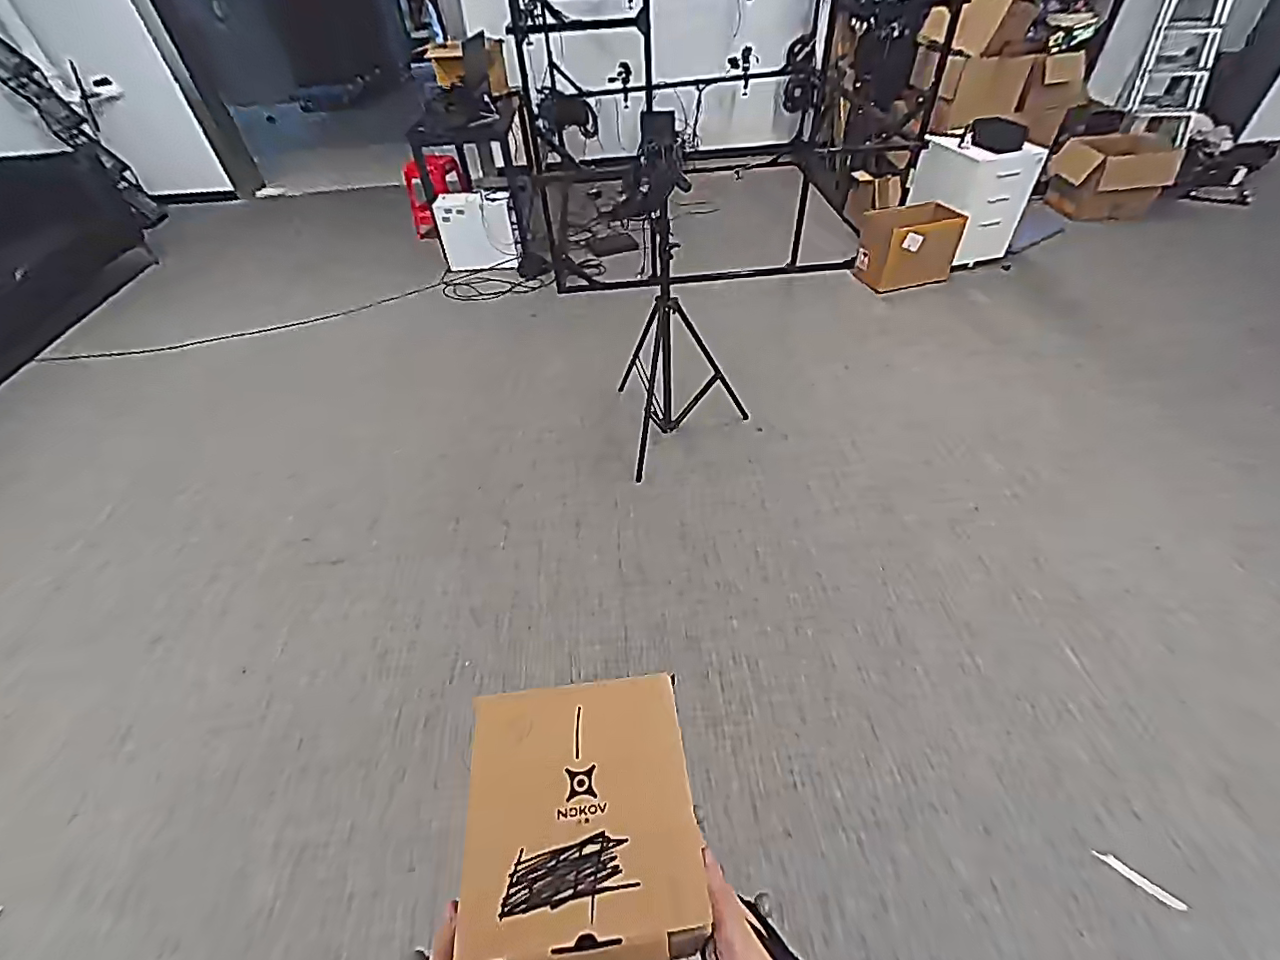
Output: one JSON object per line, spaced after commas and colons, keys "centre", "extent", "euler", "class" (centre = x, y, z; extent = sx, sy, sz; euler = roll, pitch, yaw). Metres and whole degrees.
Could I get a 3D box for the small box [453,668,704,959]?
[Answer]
{"centre": [-0.045, 0.286, 0.457], "extent": [0.168, 0.176, 0.179], "euler": [-5, 44, -5], "class": "small box"}
